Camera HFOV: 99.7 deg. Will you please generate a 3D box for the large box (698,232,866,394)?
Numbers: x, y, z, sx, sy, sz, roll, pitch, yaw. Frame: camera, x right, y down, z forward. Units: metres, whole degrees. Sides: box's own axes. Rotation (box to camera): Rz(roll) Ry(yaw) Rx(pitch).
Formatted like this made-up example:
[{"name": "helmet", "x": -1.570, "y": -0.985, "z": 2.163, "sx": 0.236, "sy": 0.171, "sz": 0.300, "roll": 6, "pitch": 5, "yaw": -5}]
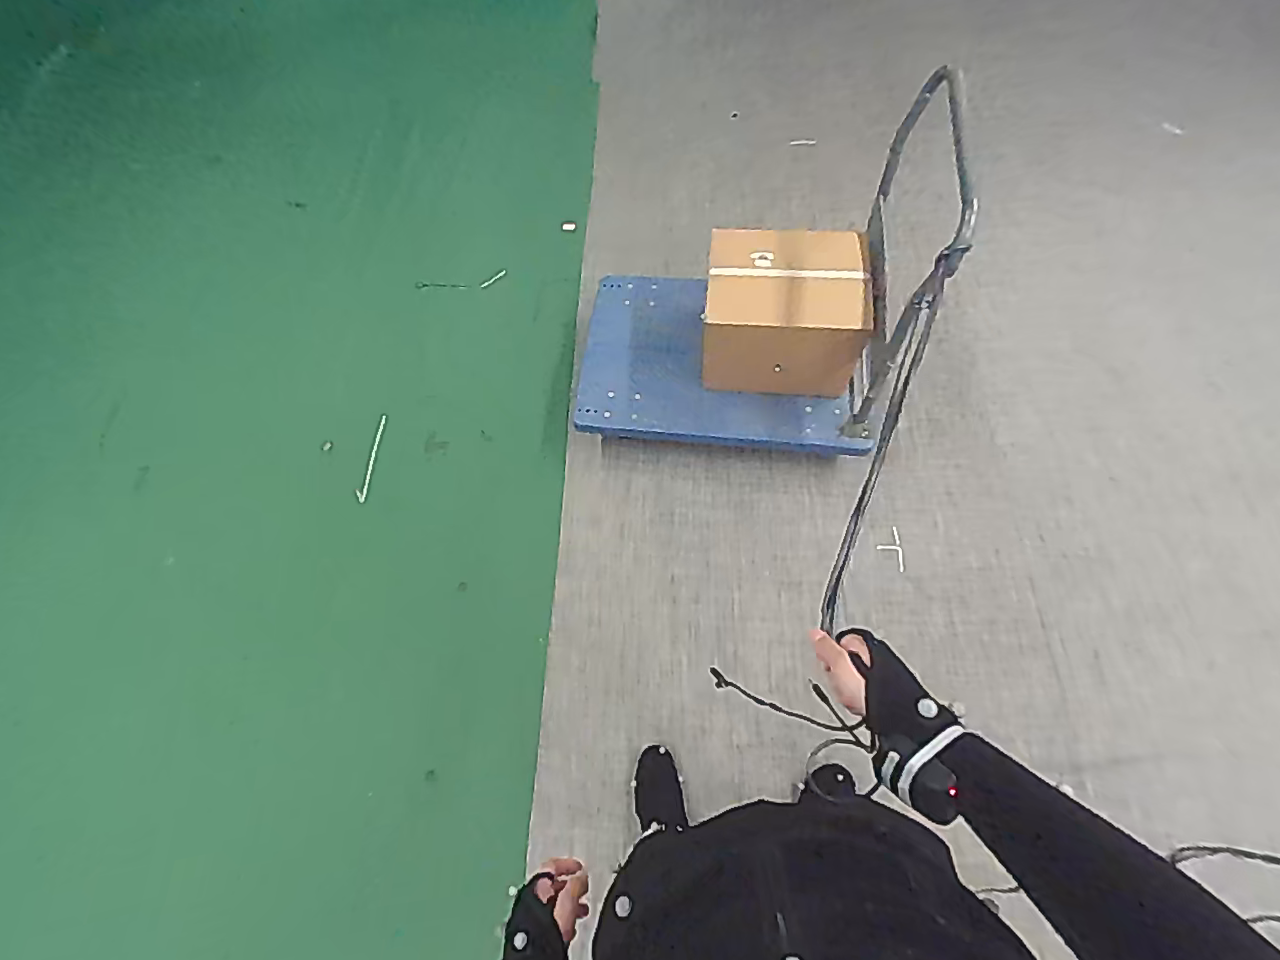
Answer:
[{"name": "large box", "x": 0.373, "y": -0.452, "z": 1.497, "sx": 0.408, "sy": 0.320, "sz": 0.320, "roll": 4, "pitch": 67, "yaw": 8}]
